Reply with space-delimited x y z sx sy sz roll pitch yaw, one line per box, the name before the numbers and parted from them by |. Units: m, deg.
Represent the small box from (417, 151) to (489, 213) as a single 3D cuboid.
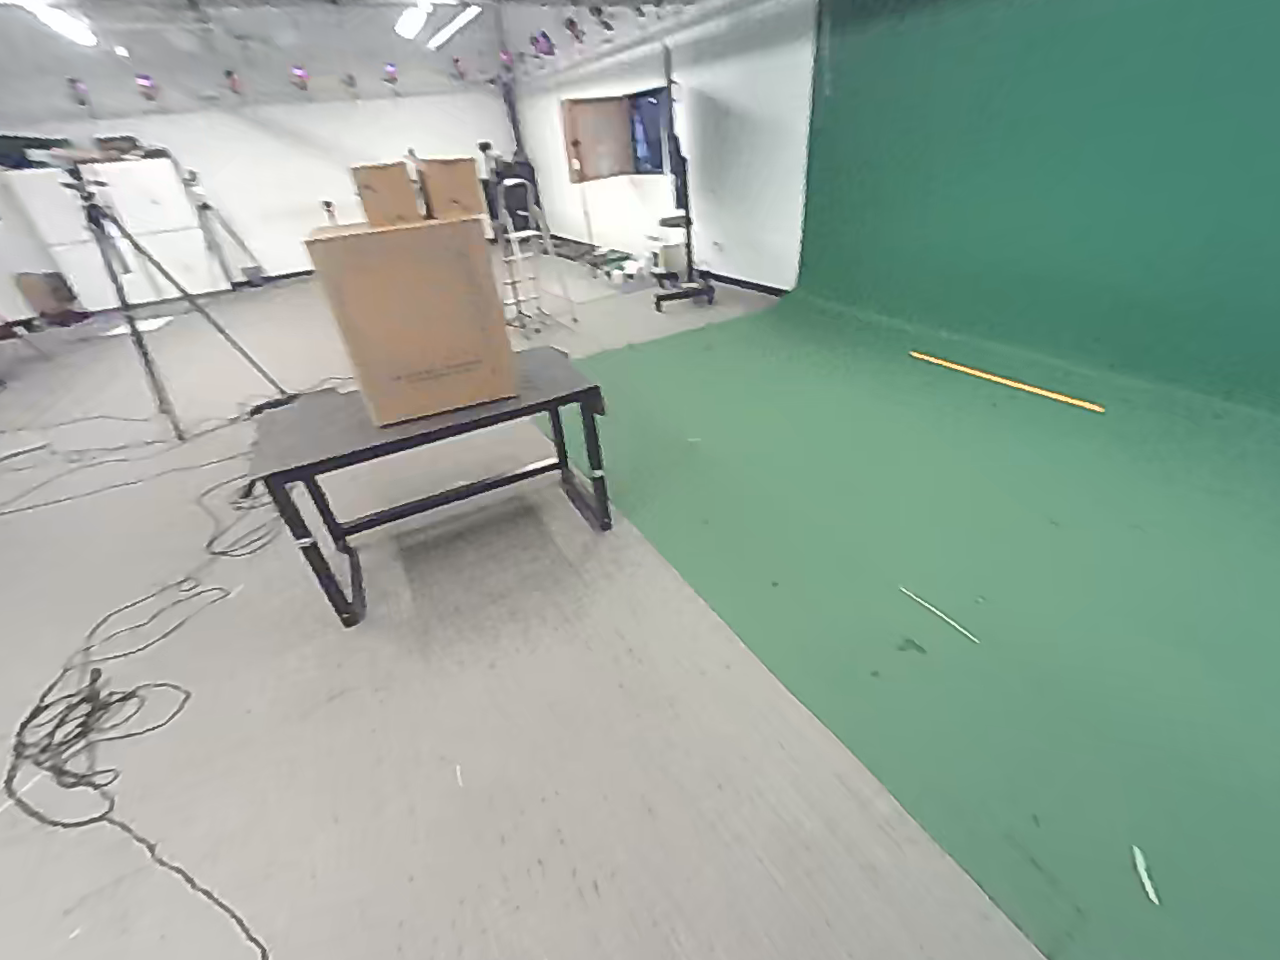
small box | -0.607 -0.970 1.758 0.168 0.176 0.179 -19 38 -25
